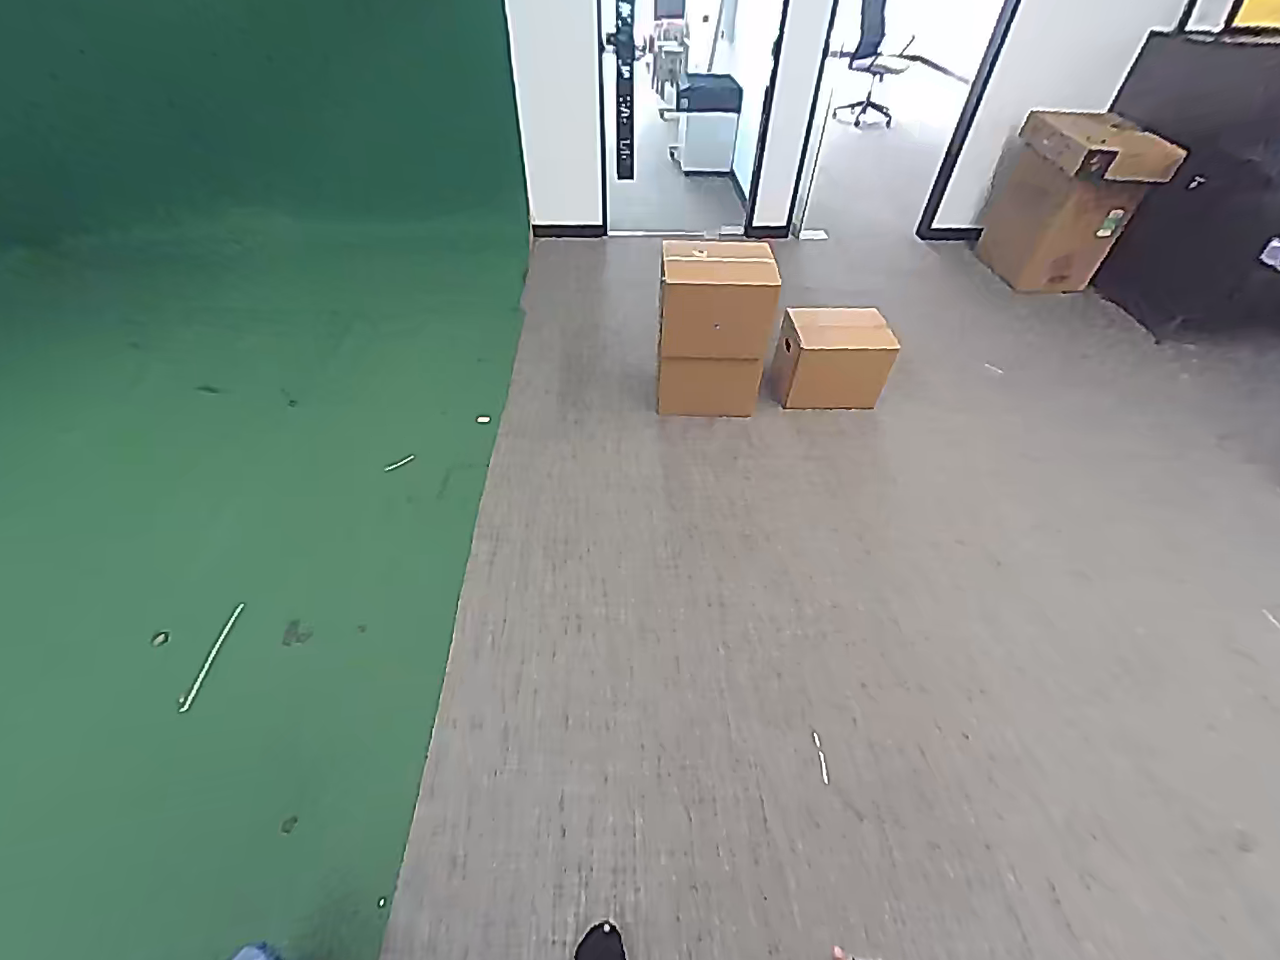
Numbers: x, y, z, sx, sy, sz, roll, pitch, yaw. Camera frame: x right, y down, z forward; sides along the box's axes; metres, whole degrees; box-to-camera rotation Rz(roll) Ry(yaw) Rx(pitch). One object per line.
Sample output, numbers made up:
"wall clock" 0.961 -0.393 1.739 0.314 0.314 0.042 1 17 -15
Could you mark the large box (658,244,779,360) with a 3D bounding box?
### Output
"large box" 0.274 -0.669 2.038 0.408 0.320 0.320 0 49 0
